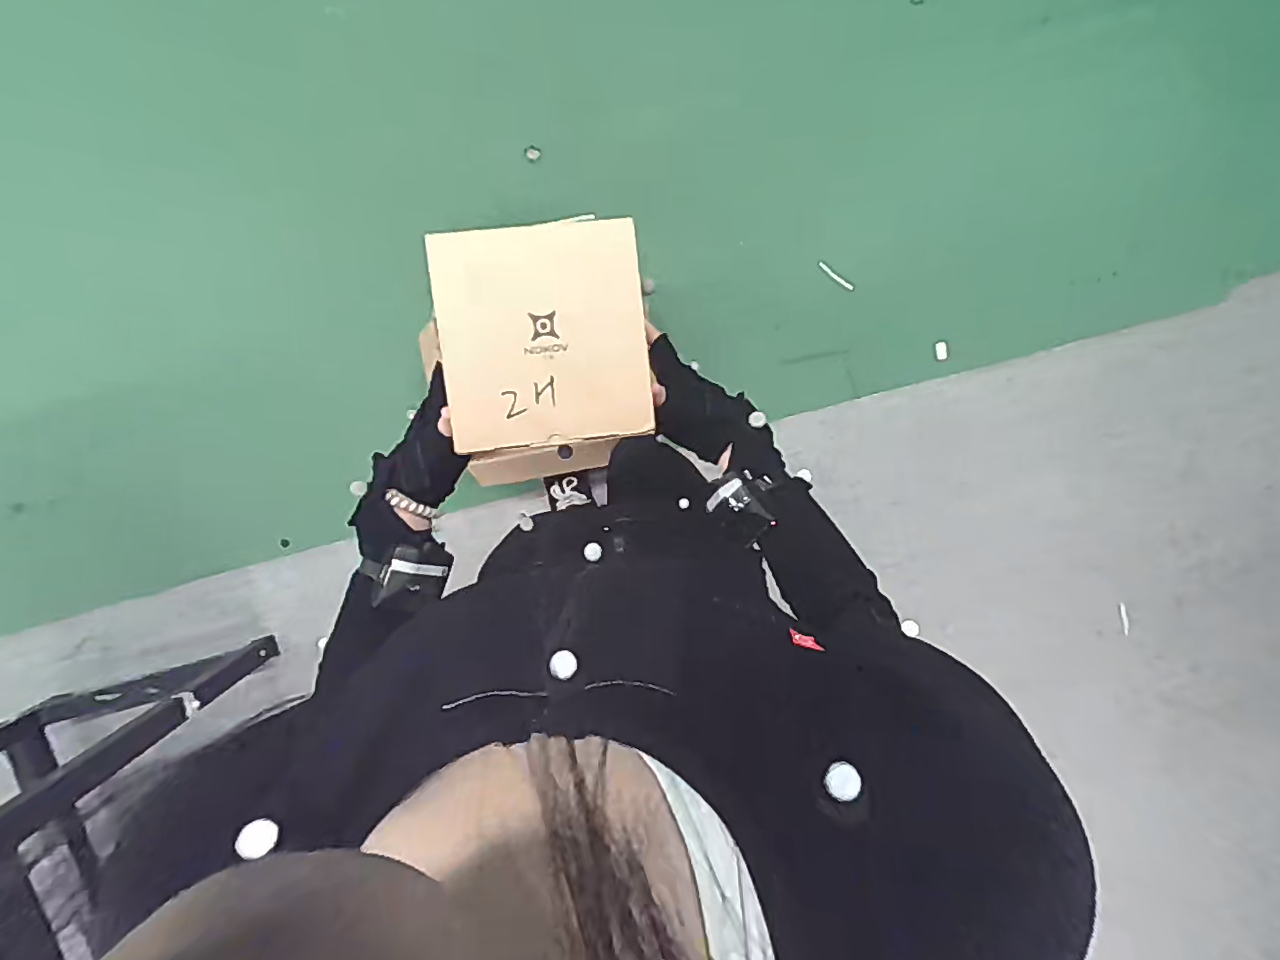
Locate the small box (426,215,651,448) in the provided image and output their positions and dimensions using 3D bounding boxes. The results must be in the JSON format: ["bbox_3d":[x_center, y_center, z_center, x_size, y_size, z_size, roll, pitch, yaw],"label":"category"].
[{"bbox_3d":[-0.086,-0.124,0.512,0.168,0.176,0.179,-7,94,-4],"label":"small box"}]
